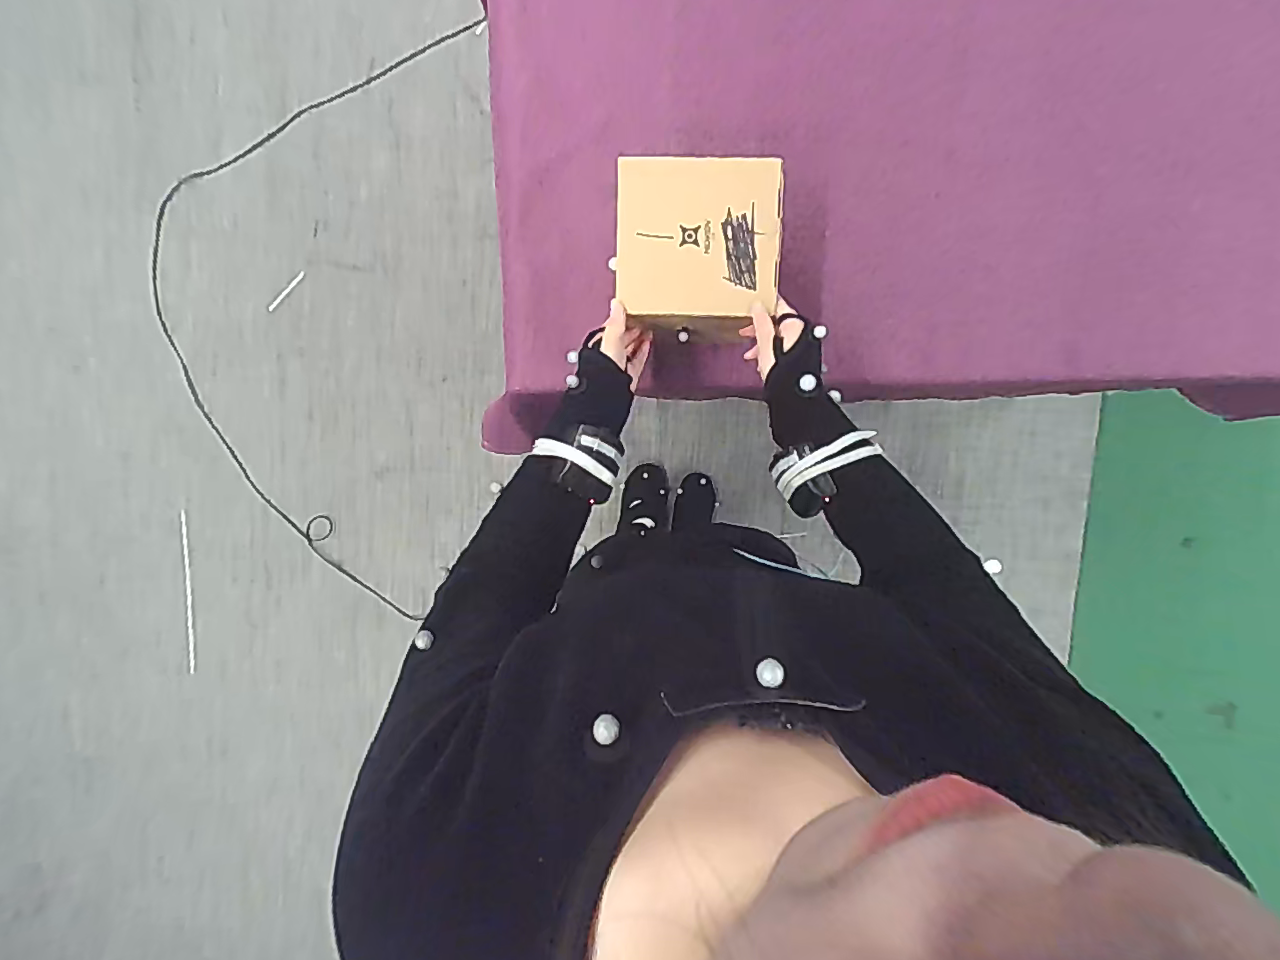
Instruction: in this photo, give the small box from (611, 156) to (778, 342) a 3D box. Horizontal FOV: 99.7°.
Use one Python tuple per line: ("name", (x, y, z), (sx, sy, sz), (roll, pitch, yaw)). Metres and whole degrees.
("small box", (0.058, -0.266, 0.659), (0.179, 0.176, 0.168), (2, 94, 1))
